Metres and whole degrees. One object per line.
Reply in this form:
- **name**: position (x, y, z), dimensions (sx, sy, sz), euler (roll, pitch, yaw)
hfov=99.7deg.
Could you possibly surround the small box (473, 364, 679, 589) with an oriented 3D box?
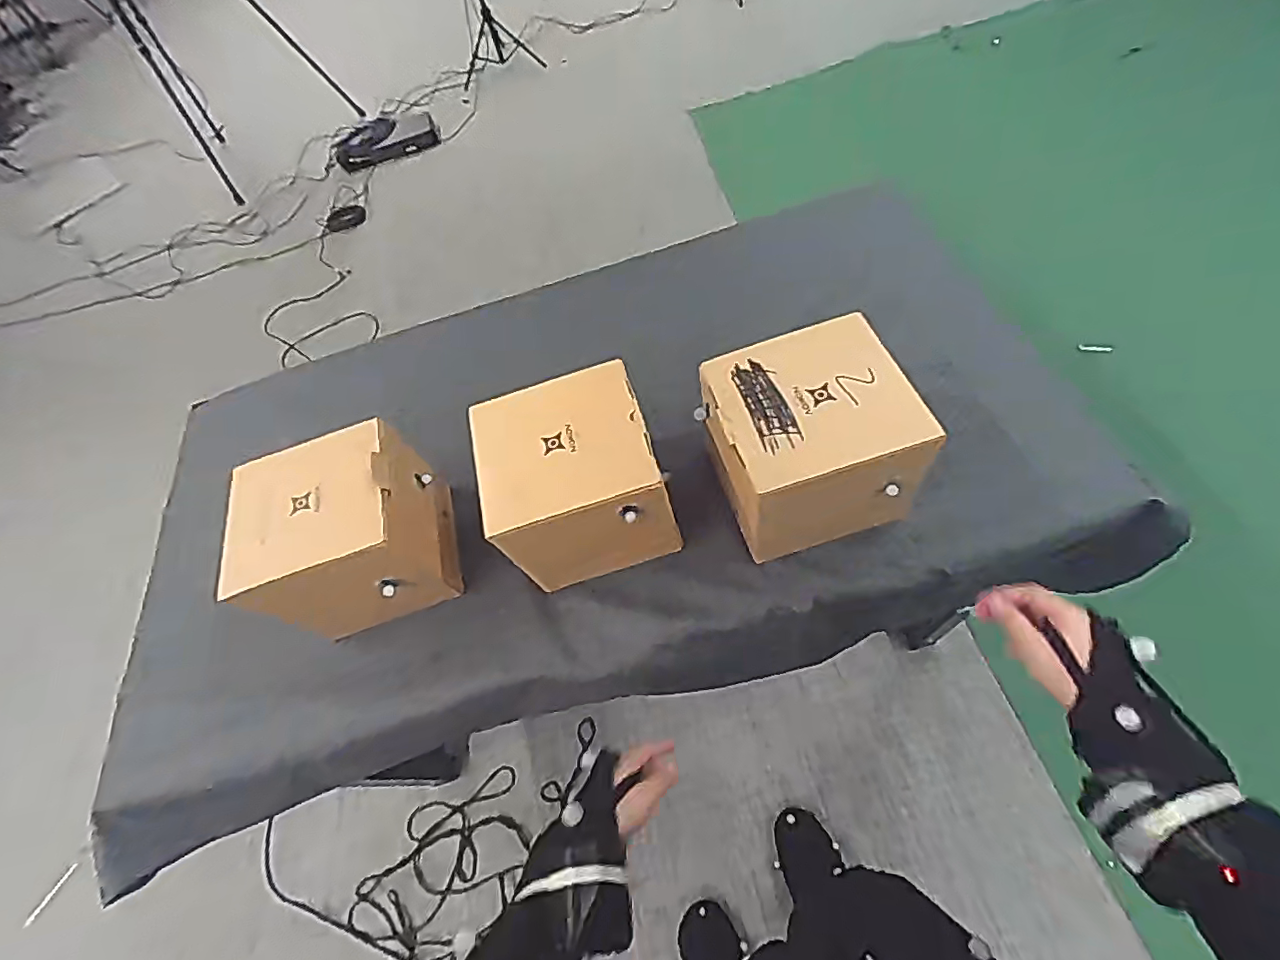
- **small box**: position (-0.067, 0.005, 0.614), dimensions (0.179, 0.176, 0.168), euler (-18, 58, 1)

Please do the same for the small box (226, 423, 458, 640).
- **small box**: position (-0.329, 0.067, 0.635), dimensions (0.179, 0.176, 0.168), euler (-21, 57, 1)
